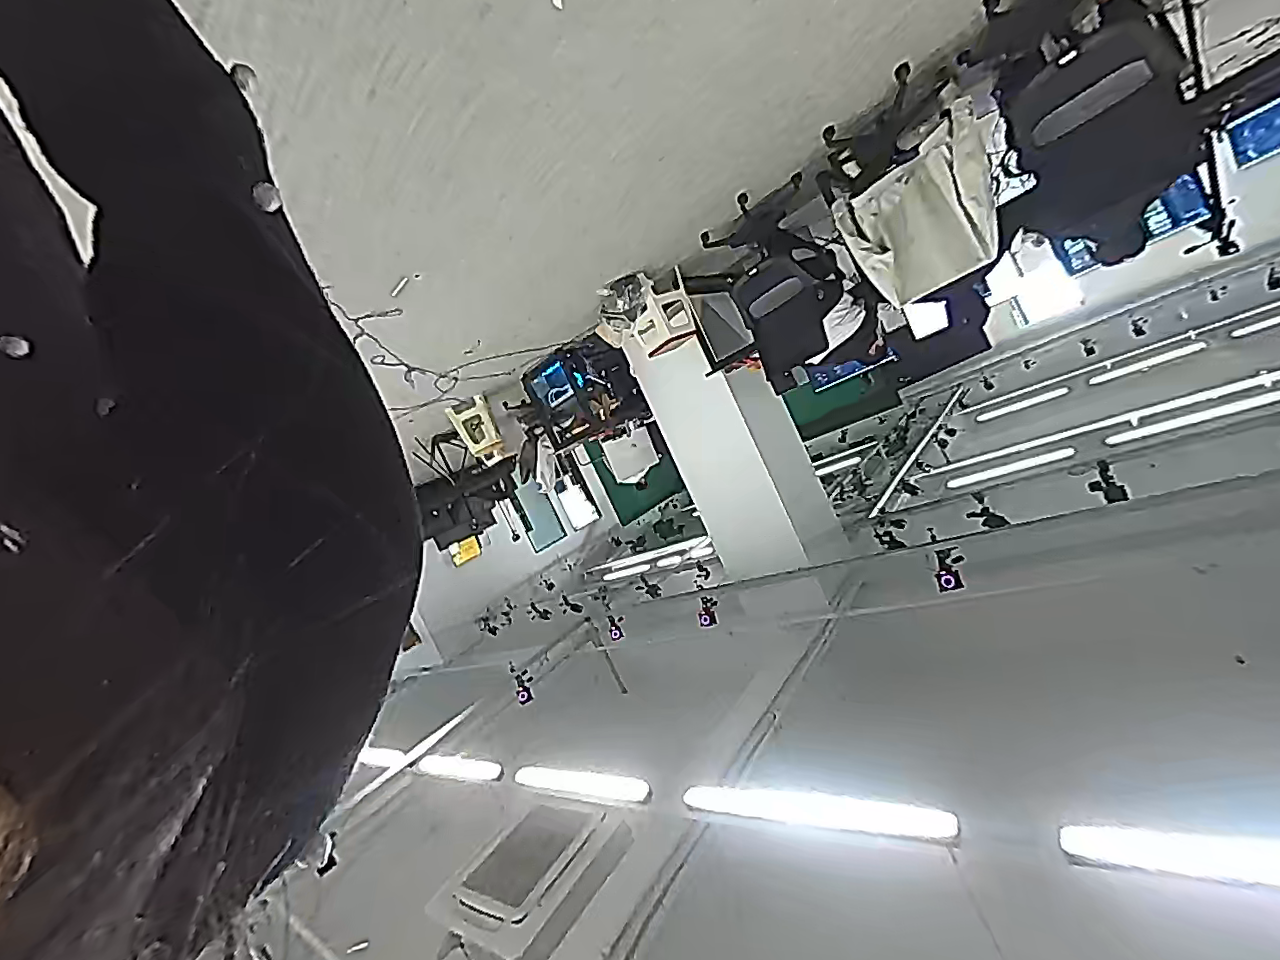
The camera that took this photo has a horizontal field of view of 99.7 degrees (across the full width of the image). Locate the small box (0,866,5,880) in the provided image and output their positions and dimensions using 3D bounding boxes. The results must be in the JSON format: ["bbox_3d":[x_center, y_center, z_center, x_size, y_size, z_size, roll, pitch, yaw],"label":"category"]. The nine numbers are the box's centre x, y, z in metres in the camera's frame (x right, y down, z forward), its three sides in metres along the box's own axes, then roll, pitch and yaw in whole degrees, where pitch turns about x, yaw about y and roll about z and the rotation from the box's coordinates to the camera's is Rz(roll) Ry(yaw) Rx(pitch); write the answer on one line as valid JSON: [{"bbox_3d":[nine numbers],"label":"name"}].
[{"bbox_3d":[-2.024,1.160,1.574,0.168,0.176,0.179,-22,-176,43],"label":"small box"}]
